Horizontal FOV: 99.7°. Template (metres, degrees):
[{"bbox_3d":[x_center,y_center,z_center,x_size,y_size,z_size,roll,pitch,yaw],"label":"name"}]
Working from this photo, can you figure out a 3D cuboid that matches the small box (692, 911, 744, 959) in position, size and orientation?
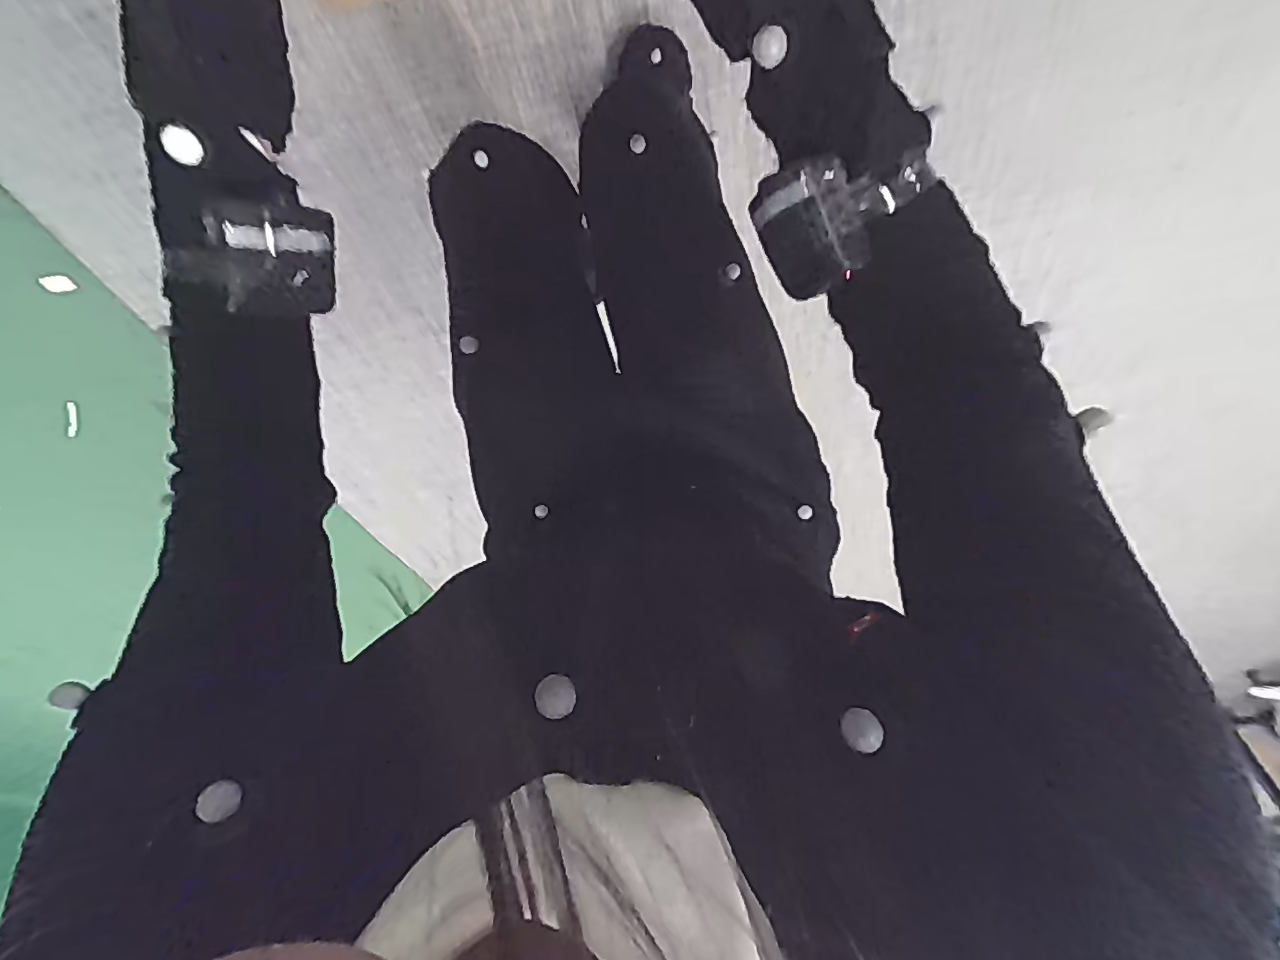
[{"bbox_3d":[0.293,1.740,2.037,0.179,0.176,0.168,-10,140,6],"label":"small box"}]

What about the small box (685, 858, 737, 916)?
[{"bbox_3d":[0.279,1.620,2.147,0.179,0.176,0.168,-13,139,10],"label":"small box"}]
